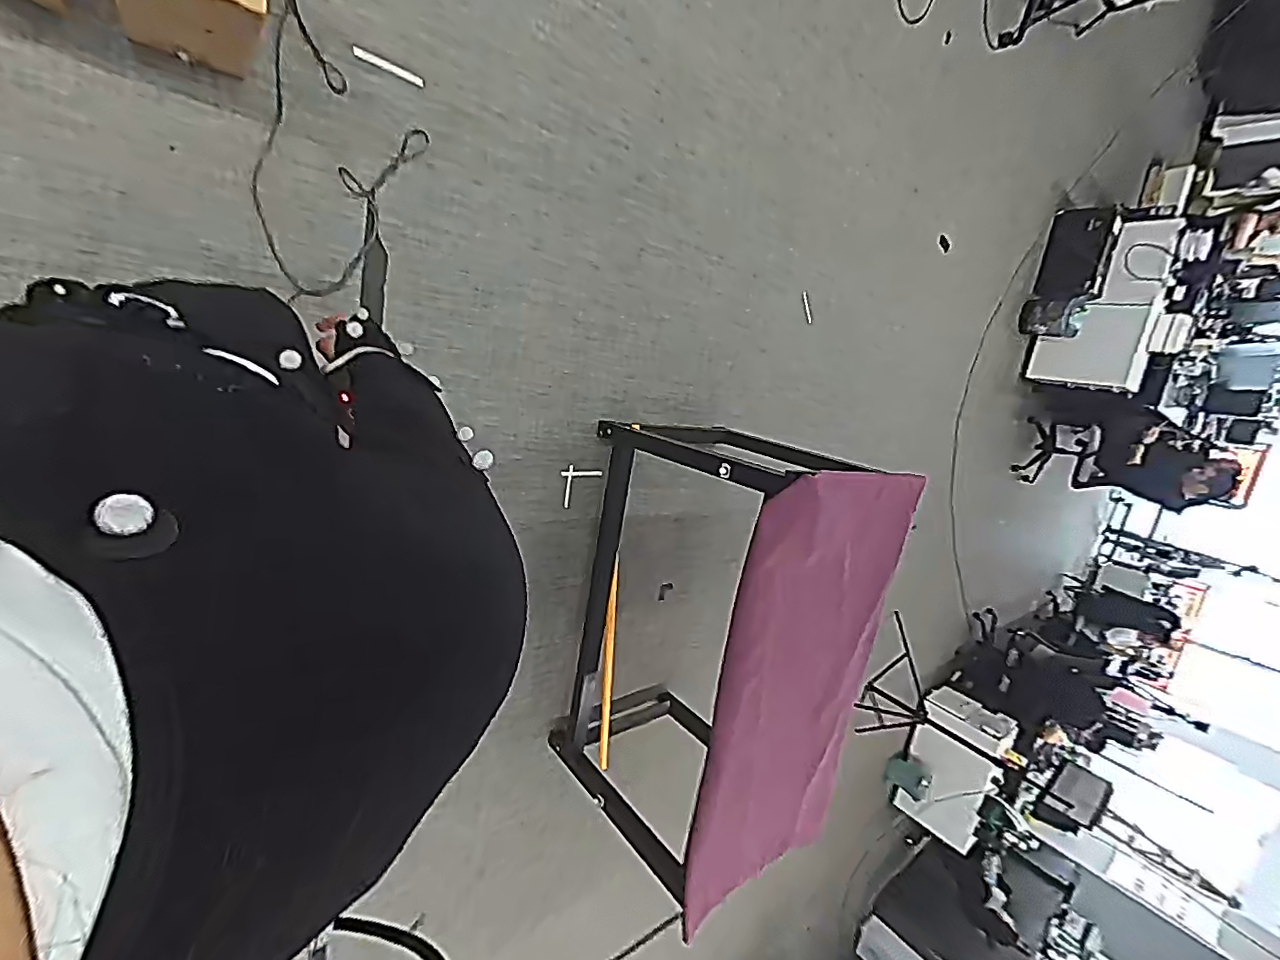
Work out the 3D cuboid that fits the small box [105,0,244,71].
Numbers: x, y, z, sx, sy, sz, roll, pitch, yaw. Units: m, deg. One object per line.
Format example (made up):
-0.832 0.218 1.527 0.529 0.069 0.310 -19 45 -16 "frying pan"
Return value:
-0.736 -0.798 0.854 0.168 0.176 0.179 -1 107 -41 "small box"
